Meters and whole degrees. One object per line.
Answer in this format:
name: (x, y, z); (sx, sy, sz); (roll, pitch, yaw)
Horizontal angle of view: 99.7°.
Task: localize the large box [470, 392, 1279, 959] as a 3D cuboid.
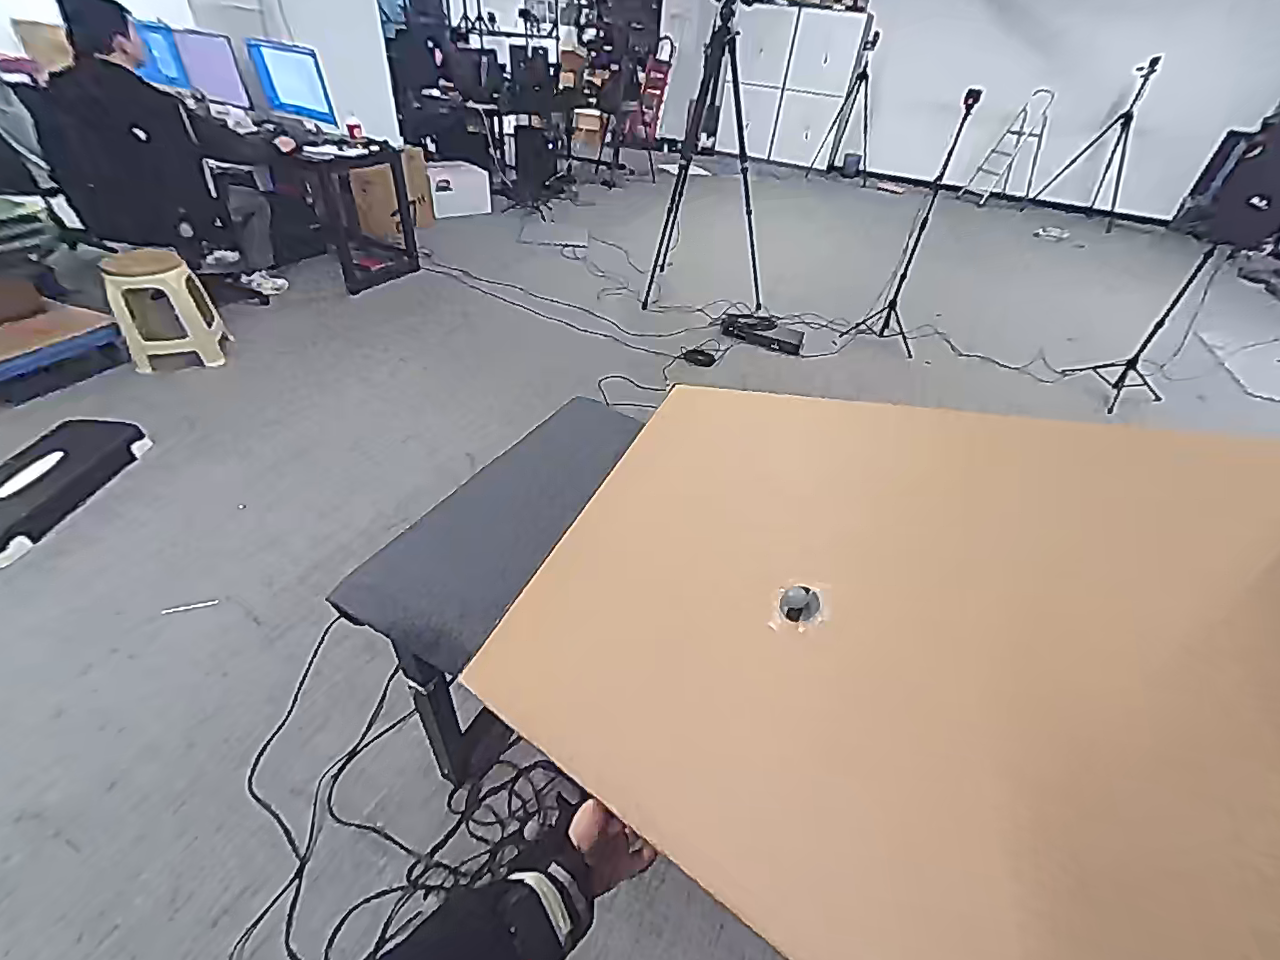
large box: (0.160, 0.163, 0.415); (0.408, 0.320, 0.320); (13, 58, 39)
